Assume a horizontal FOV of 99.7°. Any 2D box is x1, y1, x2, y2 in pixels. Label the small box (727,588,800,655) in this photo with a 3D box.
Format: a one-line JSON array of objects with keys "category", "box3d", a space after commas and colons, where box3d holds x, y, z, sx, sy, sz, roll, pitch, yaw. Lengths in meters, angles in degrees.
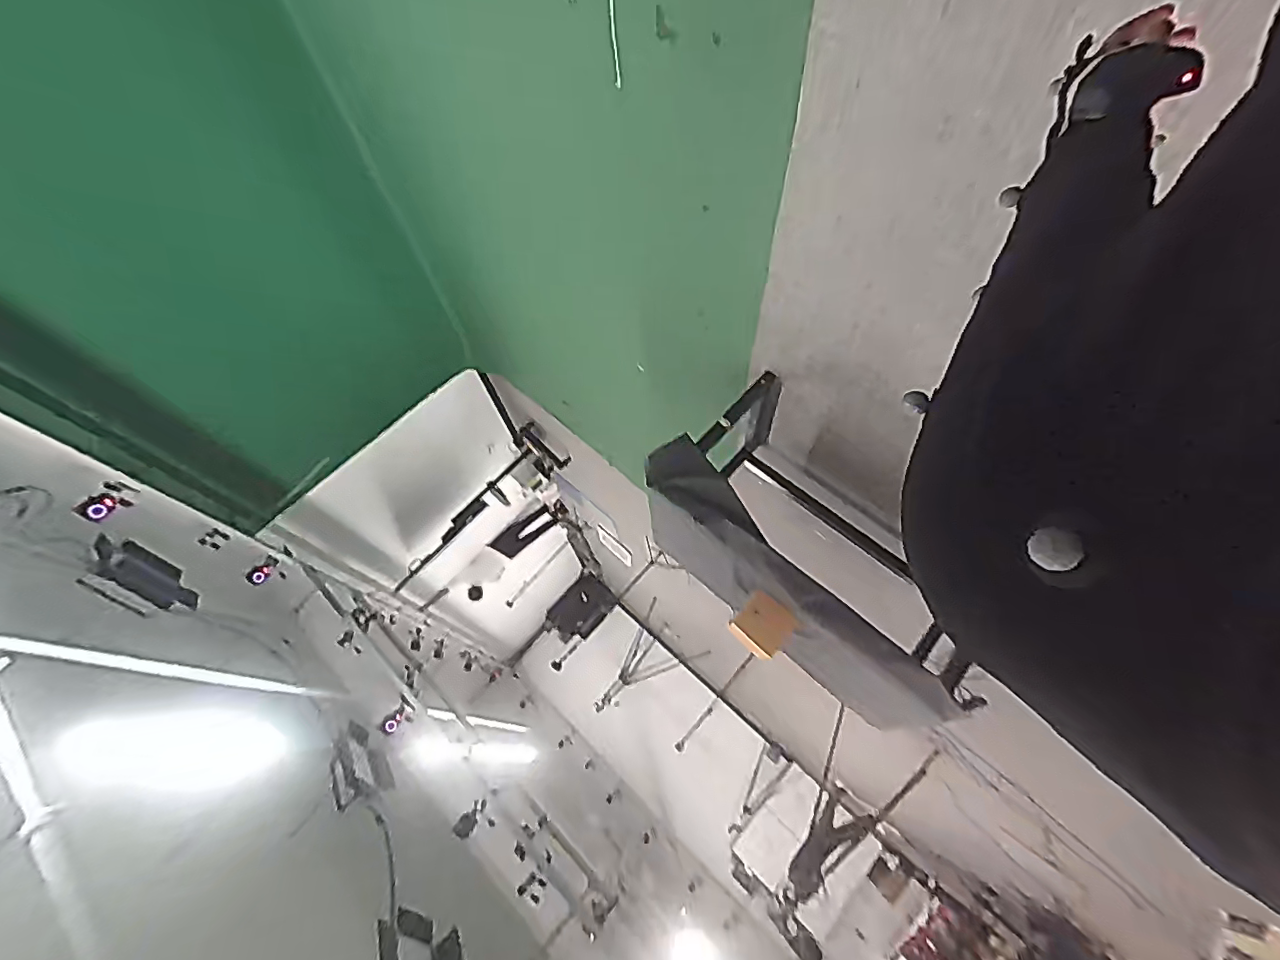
[{"category": "small box", "box3d": [0.446, 0.510, 1.968, 0.179, 0.176, 0.168, 40, 164, 12]}]
